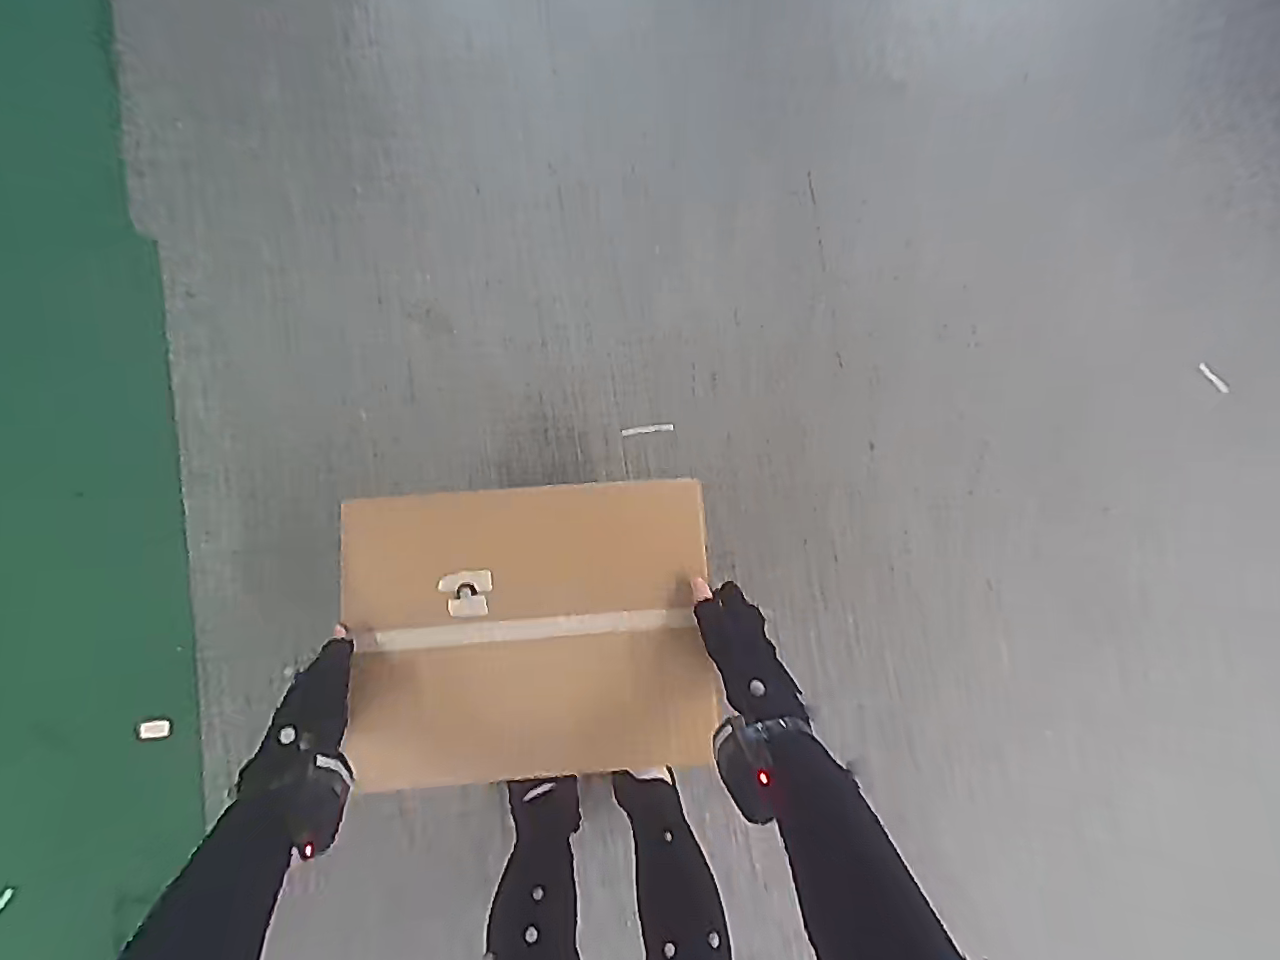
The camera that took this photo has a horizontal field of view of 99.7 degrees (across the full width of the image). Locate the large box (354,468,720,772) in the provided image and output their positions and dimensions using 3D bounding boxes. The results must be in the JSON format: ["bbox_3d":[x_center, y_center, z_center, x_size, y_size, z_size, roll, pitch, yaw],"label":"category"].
[{"bbox_3d":[-0.121,0.167,0.758,0.408,0.320,0.320,-4,83,-2],"label":"large box"}]
